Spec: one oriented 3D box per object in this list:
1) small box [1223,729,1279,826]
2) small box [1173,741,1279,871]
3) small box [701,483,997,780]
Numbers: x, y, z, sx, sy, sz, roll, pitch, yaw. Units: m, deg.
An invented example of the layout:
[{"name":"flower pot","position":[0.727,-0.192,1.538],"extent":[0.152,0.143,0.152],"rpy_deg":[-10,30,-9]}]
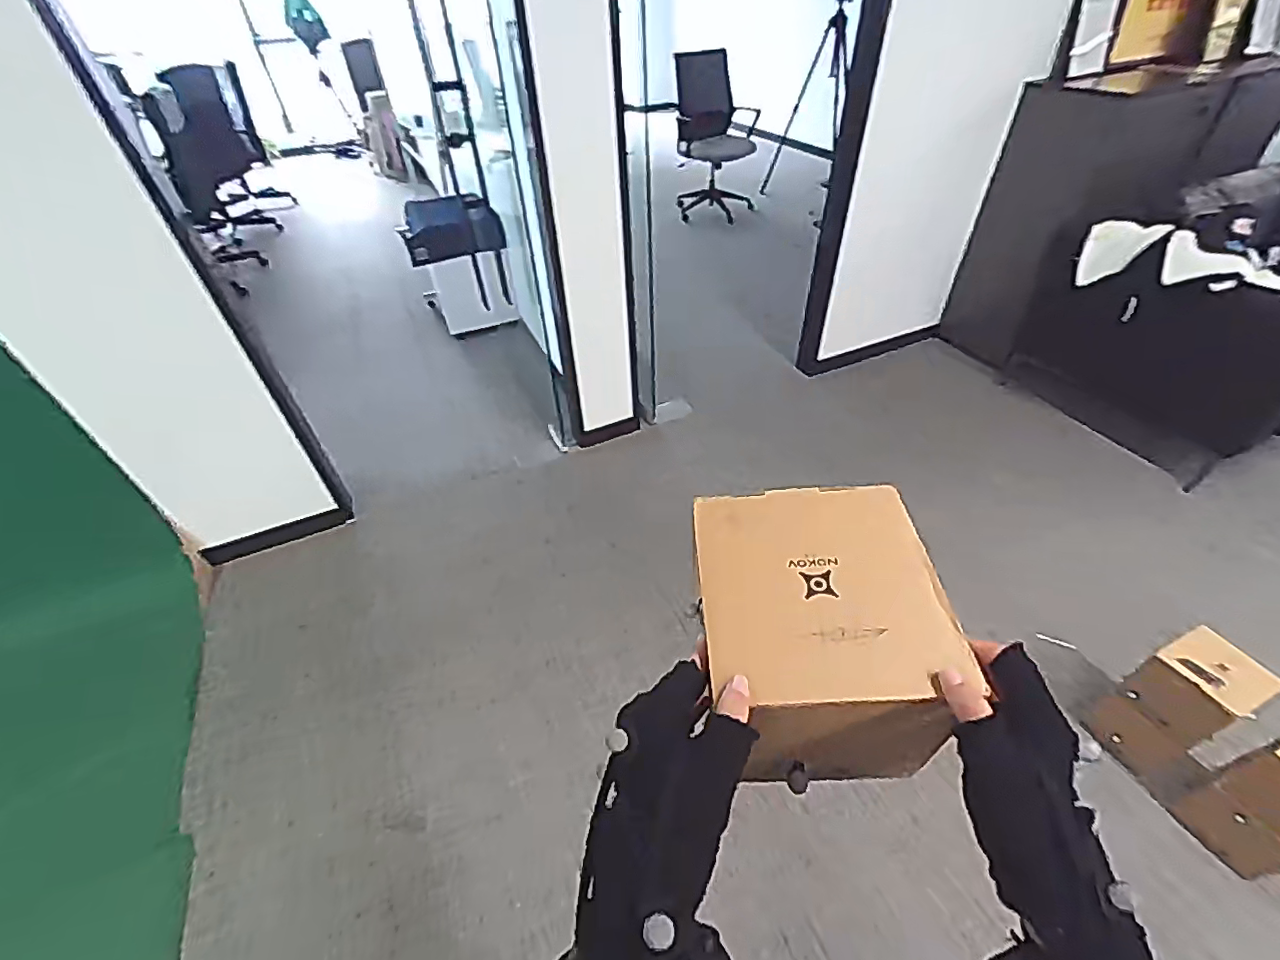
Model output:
[{"name":"small box","position":[1.350,0.601,1.076],"extent":[0.168,0.176,0.179],"rpy_deg":[-21,47,-17]},{"name":"small box","position":[1.350,0.718,1.191],"extent":[0.179,0.176,0.168],"rpy_deg":[-20,45,-17]},{"name":"small box","position":[0.137,0.123,0.438],"extent":[0.168,0.176,0.179],"rpy_deg":[-3,47,4]}]
